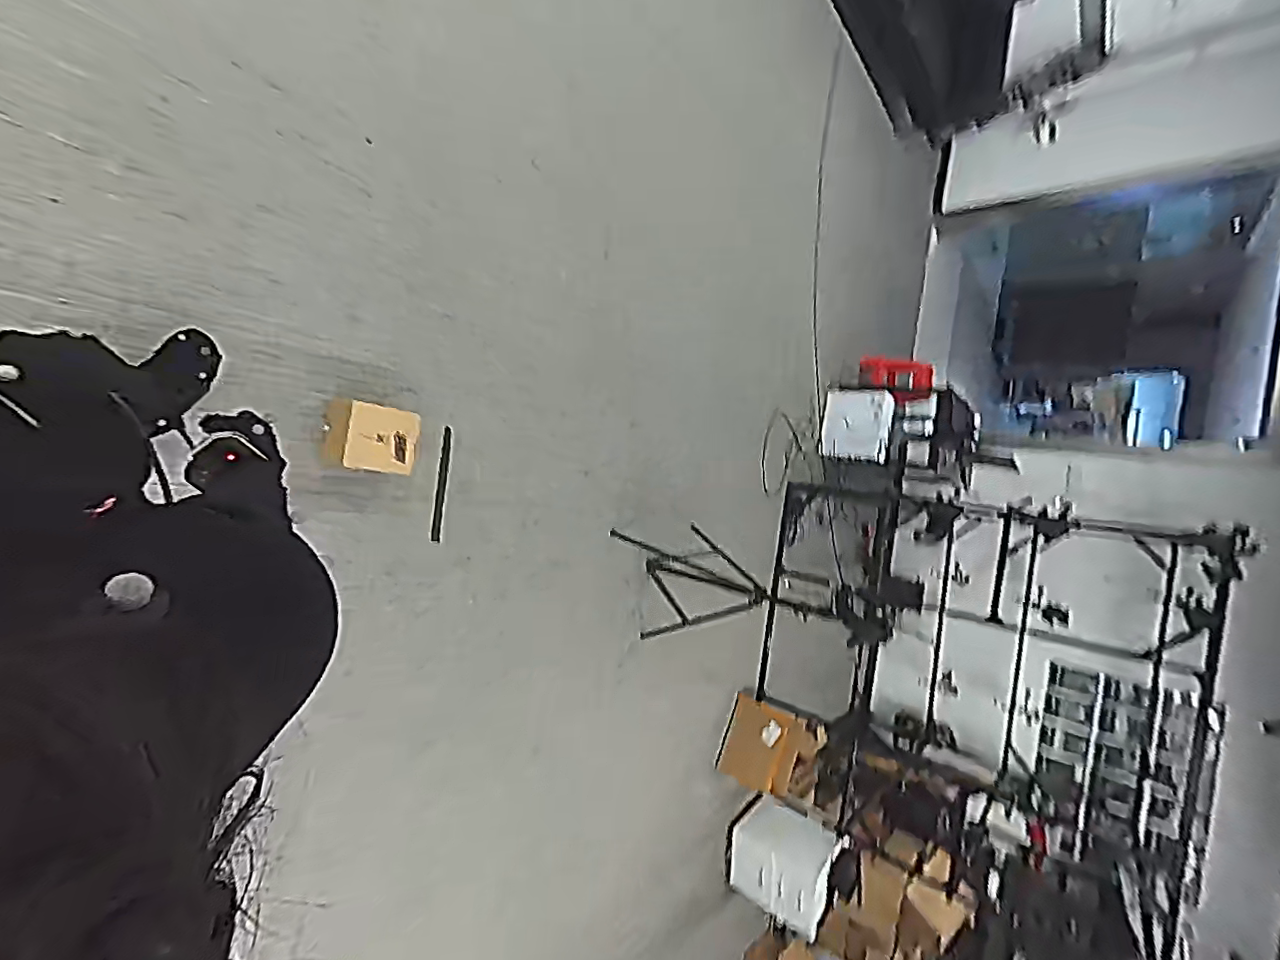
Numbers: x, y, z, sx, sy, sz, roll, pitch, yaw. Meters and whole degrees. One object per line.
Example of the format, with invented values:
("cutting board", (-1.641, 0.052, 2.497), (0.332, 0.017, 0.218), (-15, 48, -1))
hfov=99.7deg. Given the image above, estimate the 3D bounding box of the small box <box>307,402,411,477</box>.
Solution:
("small box", (-0.739, -0.108, 1.423), (0.179, 0.176, 0.168), (12, 87, -50))
